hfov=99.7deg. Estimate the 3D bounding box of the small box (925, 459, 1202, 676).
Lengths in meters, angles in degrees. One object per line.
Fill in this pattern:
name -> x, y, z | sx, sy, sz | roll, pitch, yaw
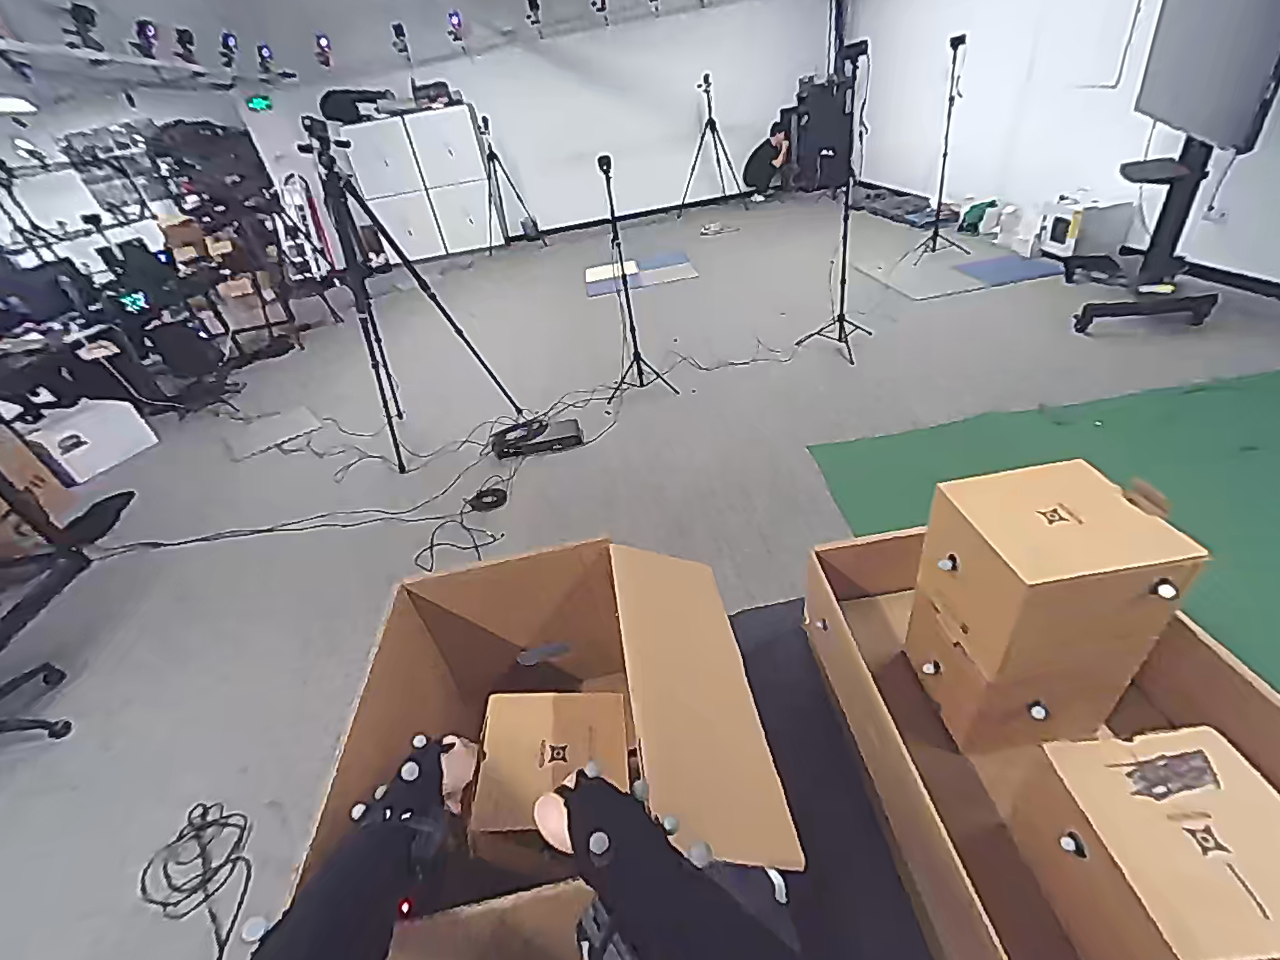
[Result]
small box -> 0.452, 0.102, 0.619 | 0.179, 0.176, 0.168 | -10, 36, 1
